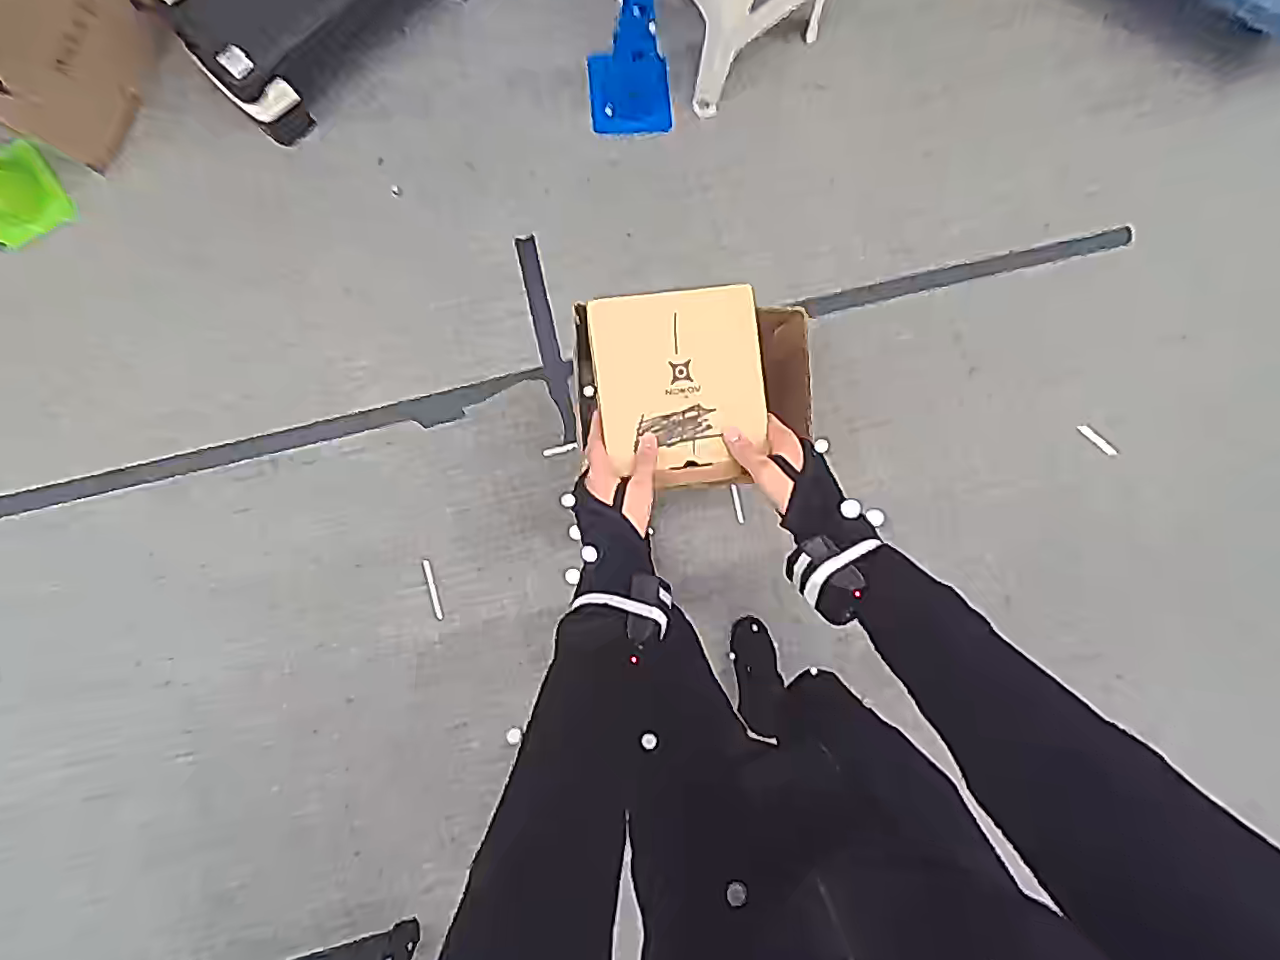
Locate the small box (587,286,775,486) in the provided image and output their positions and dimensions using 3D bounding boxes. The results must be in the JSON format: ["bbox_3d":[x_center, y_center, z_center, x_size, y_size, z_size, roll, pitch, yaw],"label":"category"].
[{"bbox_3d":[0.037,-0.094,0.598,0.168,0.176,0.179,-8,93,-4],"label":"small box"}]
